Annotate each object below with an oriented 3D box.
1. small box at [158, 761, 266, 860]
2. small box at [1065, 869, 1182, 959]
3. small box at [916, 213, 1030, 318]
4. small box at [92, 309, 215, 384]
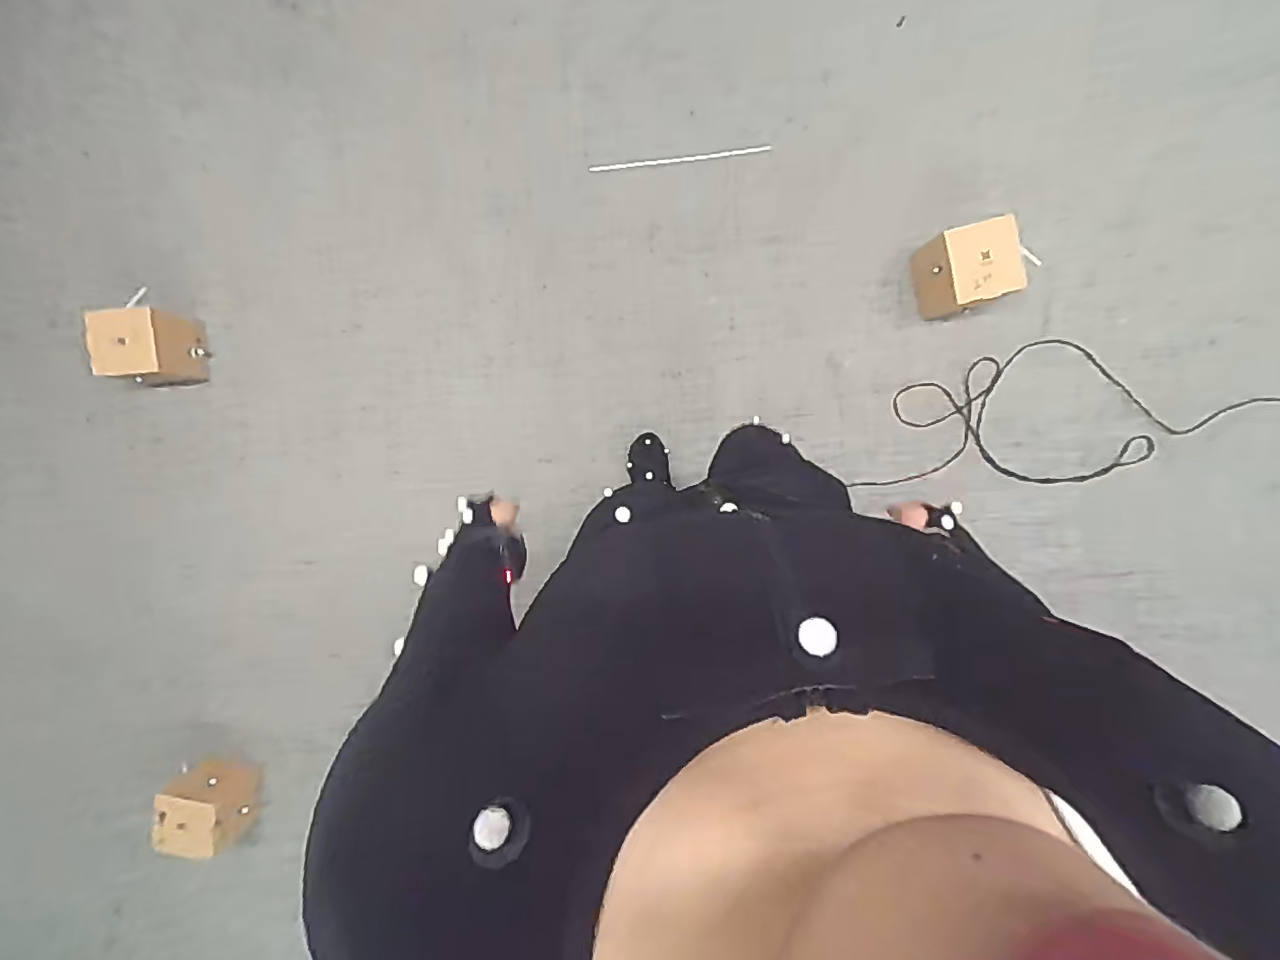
[{"bbox_3d":[-1.203,0.927,1.530,0.179,0.176,0.168,8,95,2],"label":"small box"},{"bbox_3d":[1.252,1.164,1.411,0.168,0.176,0.179,-3,93,3],"label":"small box"},{"bbox_3d":[0.802,-0.514,1.319,0.168,0.176,0.179,-13,94,4],"label":"small box"},{"bbox_3d":[-1.297,-0.351,1.451,0.179,0.176,0.168,-4,95,2],"label":"small box"}]
